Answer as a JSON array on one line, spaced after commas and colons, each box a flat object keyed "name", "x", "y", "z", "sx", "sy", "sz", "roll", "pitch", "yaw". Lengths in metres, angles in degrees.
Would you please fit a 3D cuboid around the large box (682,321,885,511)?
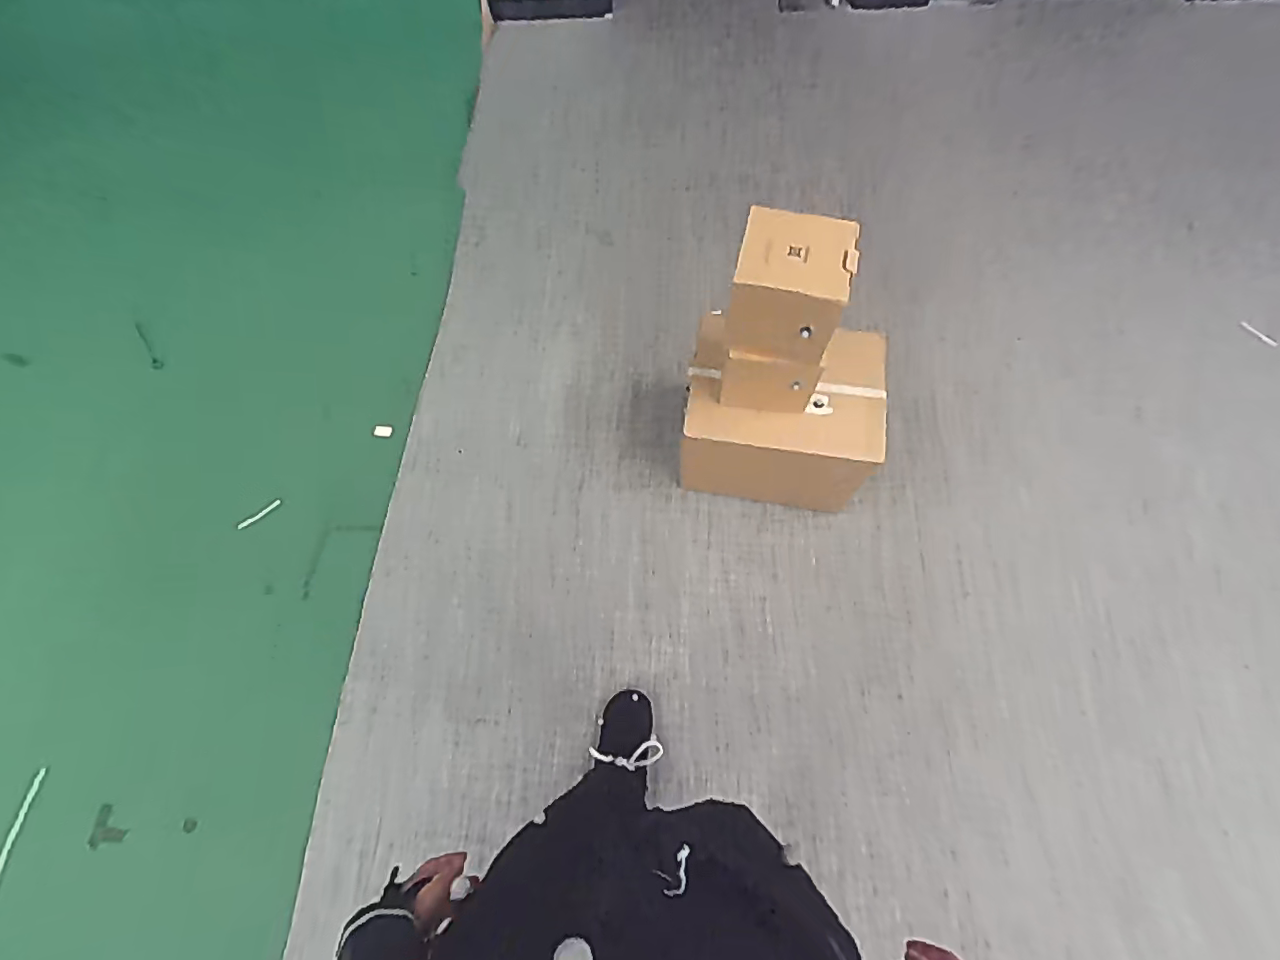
[{"name": "large box", "x": 0.317, "y": -0.139, "z": 1.278, "sx": 0.408, "sy": 0.320, "sz": 0.320, "roll": 8, "pitch": 69, "yaw": 6}]

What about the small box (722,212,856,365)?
[{"name": "small box", "x": 0.244, "y": -0.316, "z": 0.914, "sx": 0.179, "sy": 0.176, "sz": 0.168, "roll": 12, "pitch": 67, "yaw": 9}]
